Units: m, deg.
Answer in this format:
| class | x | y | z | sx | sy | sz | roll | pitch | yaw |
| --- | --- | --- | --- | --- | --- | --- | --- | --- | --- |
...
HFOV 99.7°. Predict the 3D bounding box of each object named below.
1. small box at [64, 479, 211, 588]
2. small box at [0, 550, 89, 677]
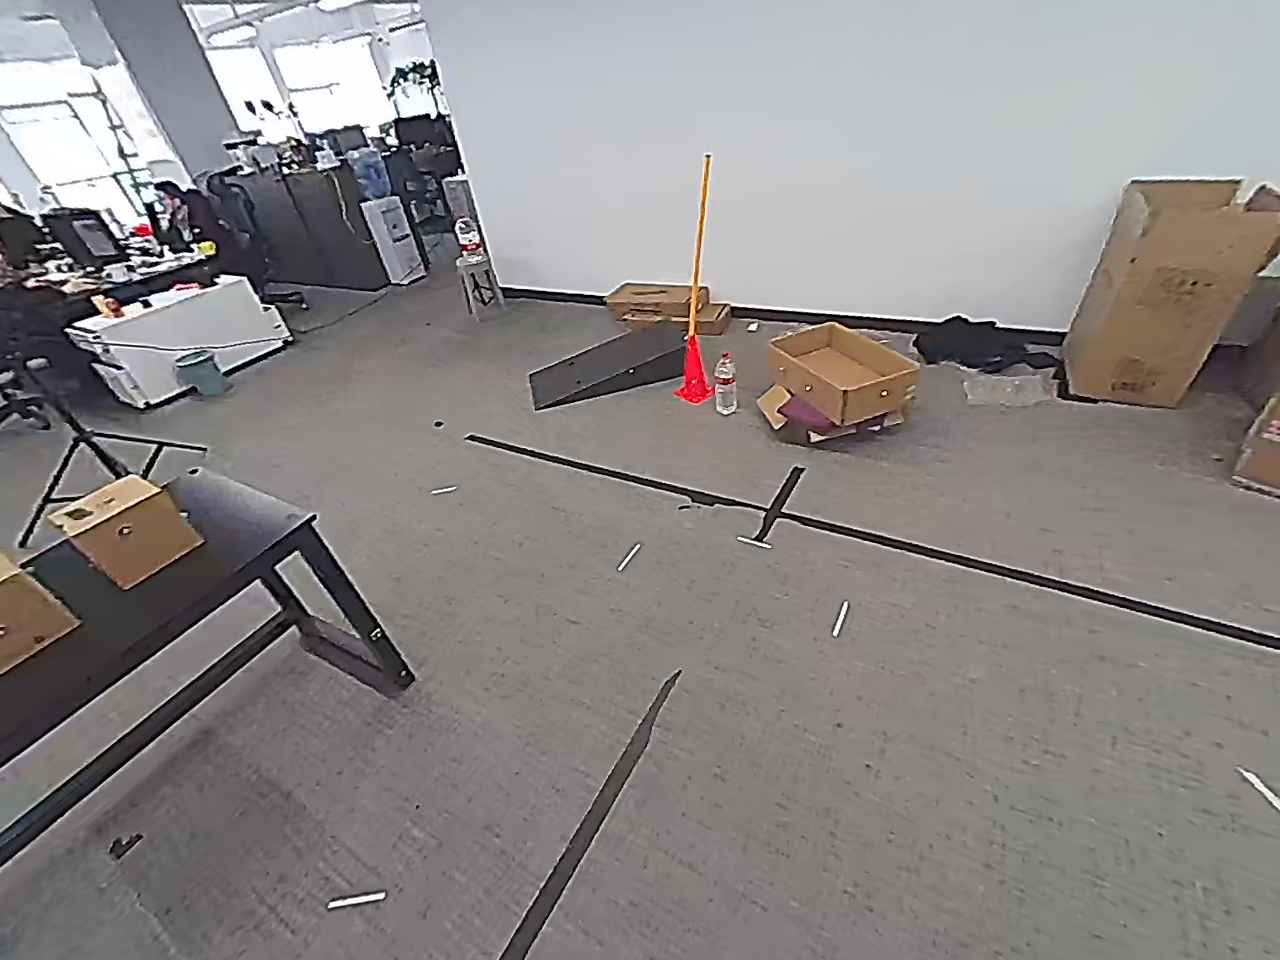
| class | x | y | z | sx | sy | sz | roll | pitch | yaw |
| --- | --- | --- | --- | --- | --- | --- | --- | --- | --- |
| small box | -1.186 | 0.127 | 1.288 | 0.168 | 0.176 | 0.179 | 16 | 43 | 29 |
| small box | -1.309 | 0.279 | 1.115 | 0.179 | 0.176 | 0.168 | 15 | 43 | 29 |
